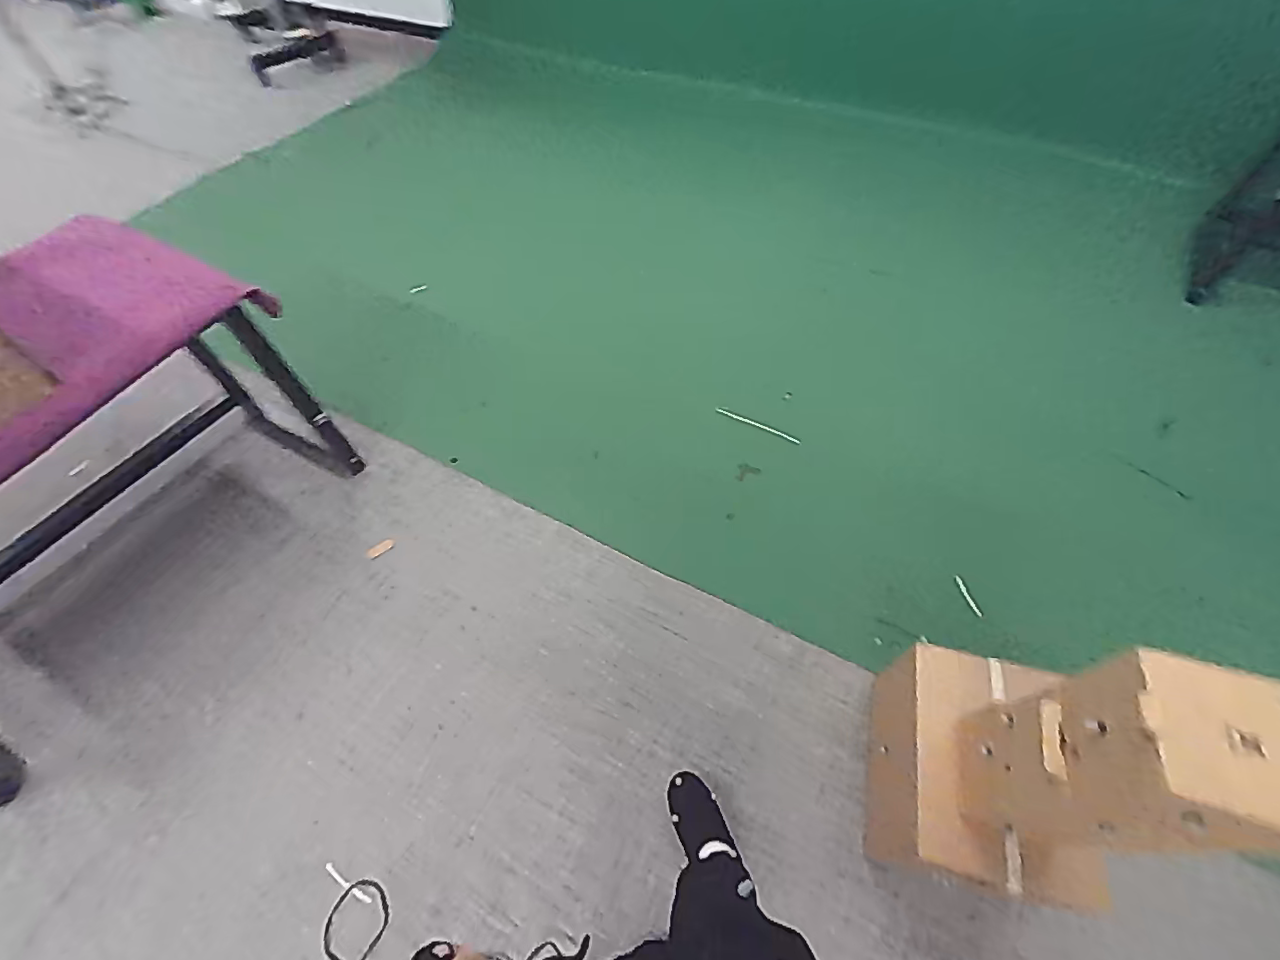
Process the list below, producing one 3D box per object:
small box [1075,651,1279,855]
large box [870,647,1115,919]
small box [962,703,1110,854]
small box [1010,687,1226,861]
[{"bbox_3d":[0.668,0.335,0.657,0.179,0.176,0.168,14,58,14],"label":"small box"},{"bbox_3d":[0.694,0.632,1.148,0.320,0.320,0.408,12,56,9],"label":"large box"},{"bbox_3d":[0.678,0.515,0.931,0.168,0.176,0.179,14,58,13],"label":"small box"},{"bbox_3d":[0.672,0.431,0.790,0.179,0.176,0.168,16,58,14],"label":"small box"}]
